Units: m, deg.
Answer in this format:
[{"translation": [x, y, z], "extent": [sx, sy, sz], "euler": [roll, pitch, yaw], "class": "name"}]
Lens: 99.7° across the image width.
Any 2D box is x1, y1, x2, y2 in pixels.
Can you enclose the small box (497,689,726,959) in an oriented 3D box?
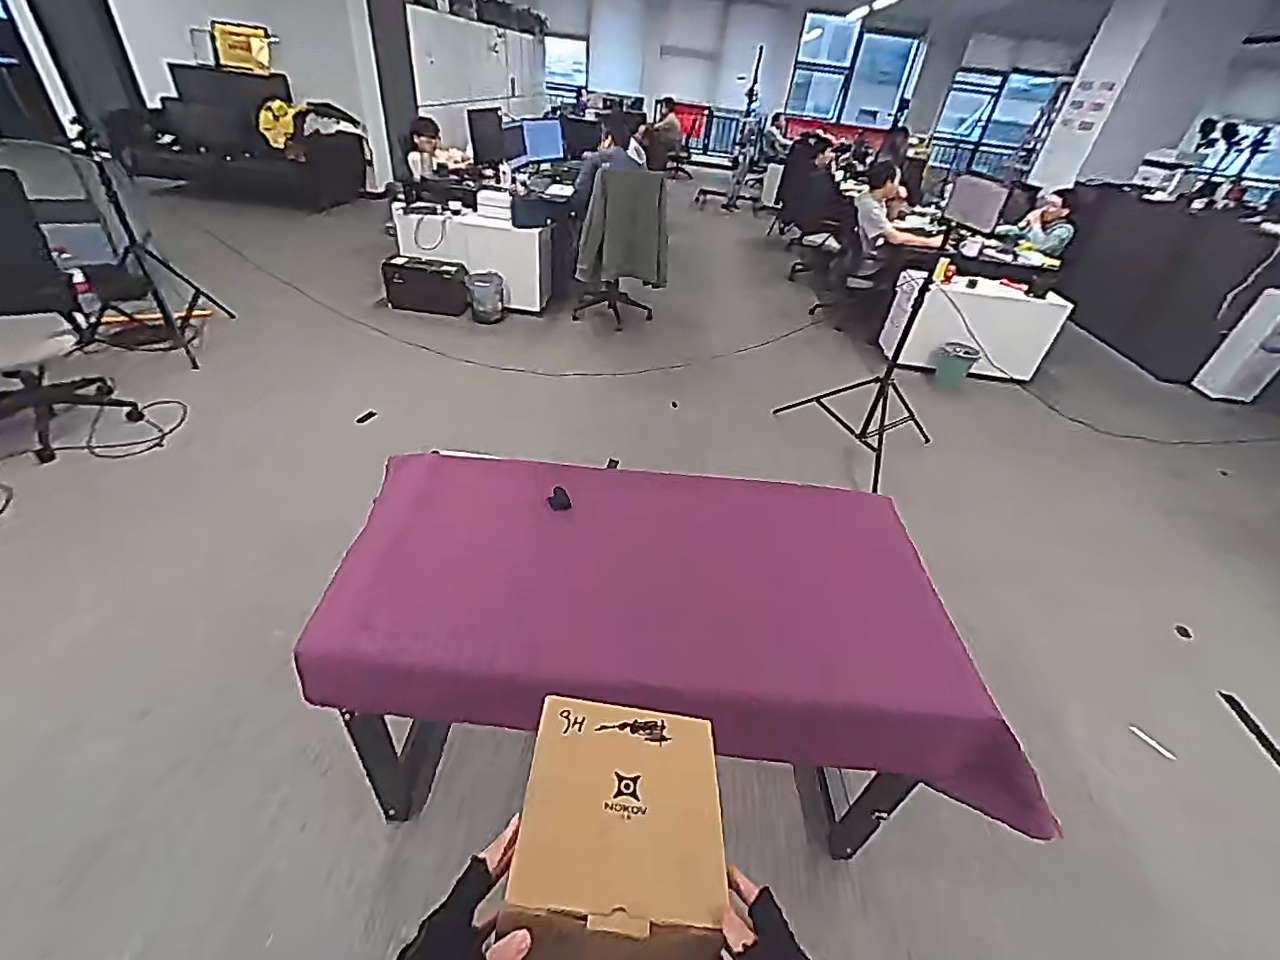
[{"translation": [-0.029, 0.327, 0.494], "extent": [0.168, 0.176, 0.179], "euler": [11, 30, -5], "class": "small box"}]
